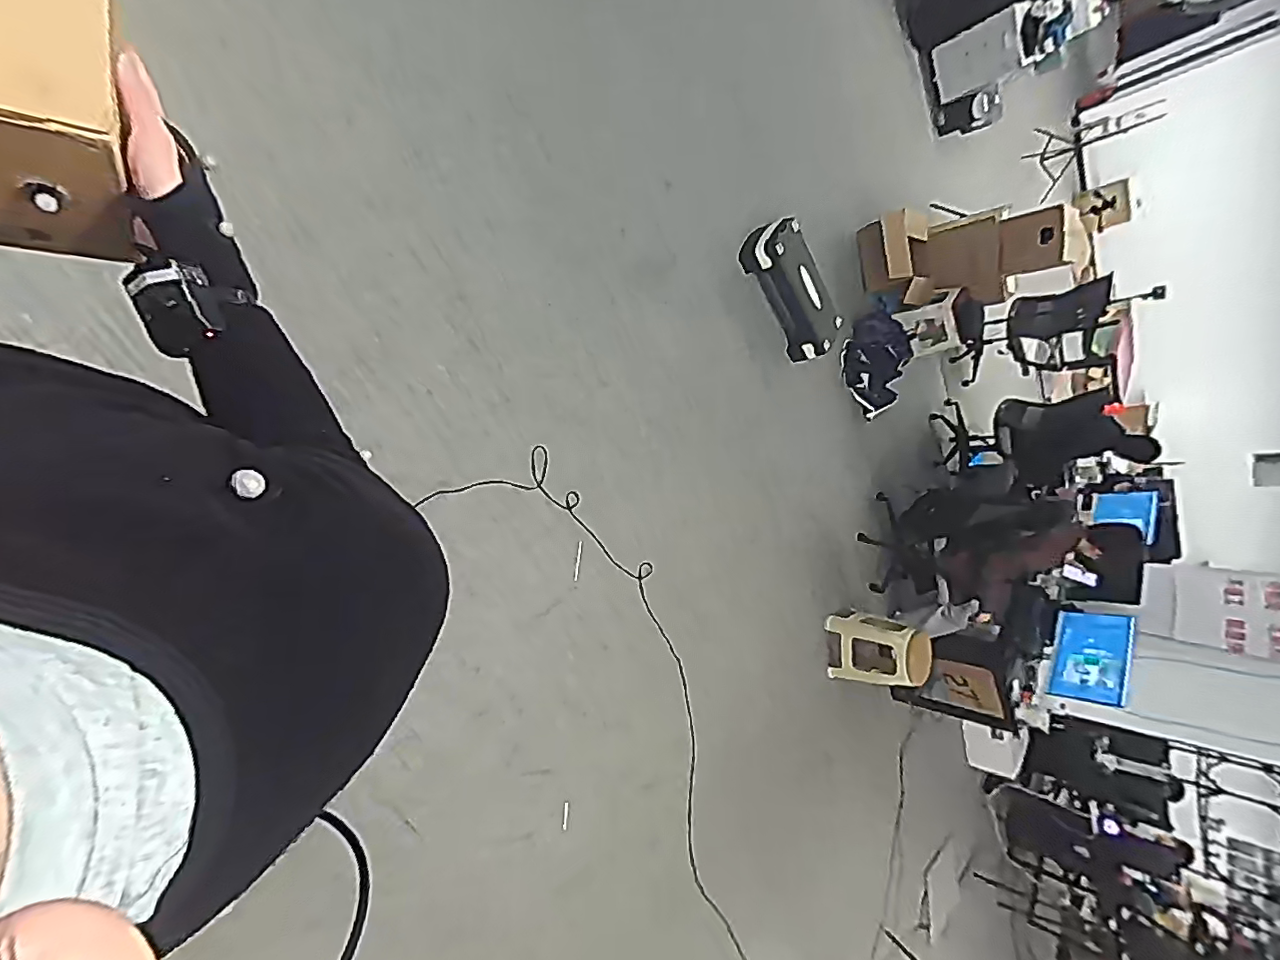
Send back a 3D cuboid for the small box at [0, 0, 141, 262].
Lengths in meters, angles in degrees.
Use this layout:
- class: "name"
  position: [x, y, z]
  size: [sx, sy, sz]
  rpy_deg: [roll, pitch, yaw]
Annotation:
- class: "small box"
  position: [-0.485, -0.289, 0.394]
  size: [0.168, 0.176, 0.179]
  rpy_deg: [-4, 78, -40]
